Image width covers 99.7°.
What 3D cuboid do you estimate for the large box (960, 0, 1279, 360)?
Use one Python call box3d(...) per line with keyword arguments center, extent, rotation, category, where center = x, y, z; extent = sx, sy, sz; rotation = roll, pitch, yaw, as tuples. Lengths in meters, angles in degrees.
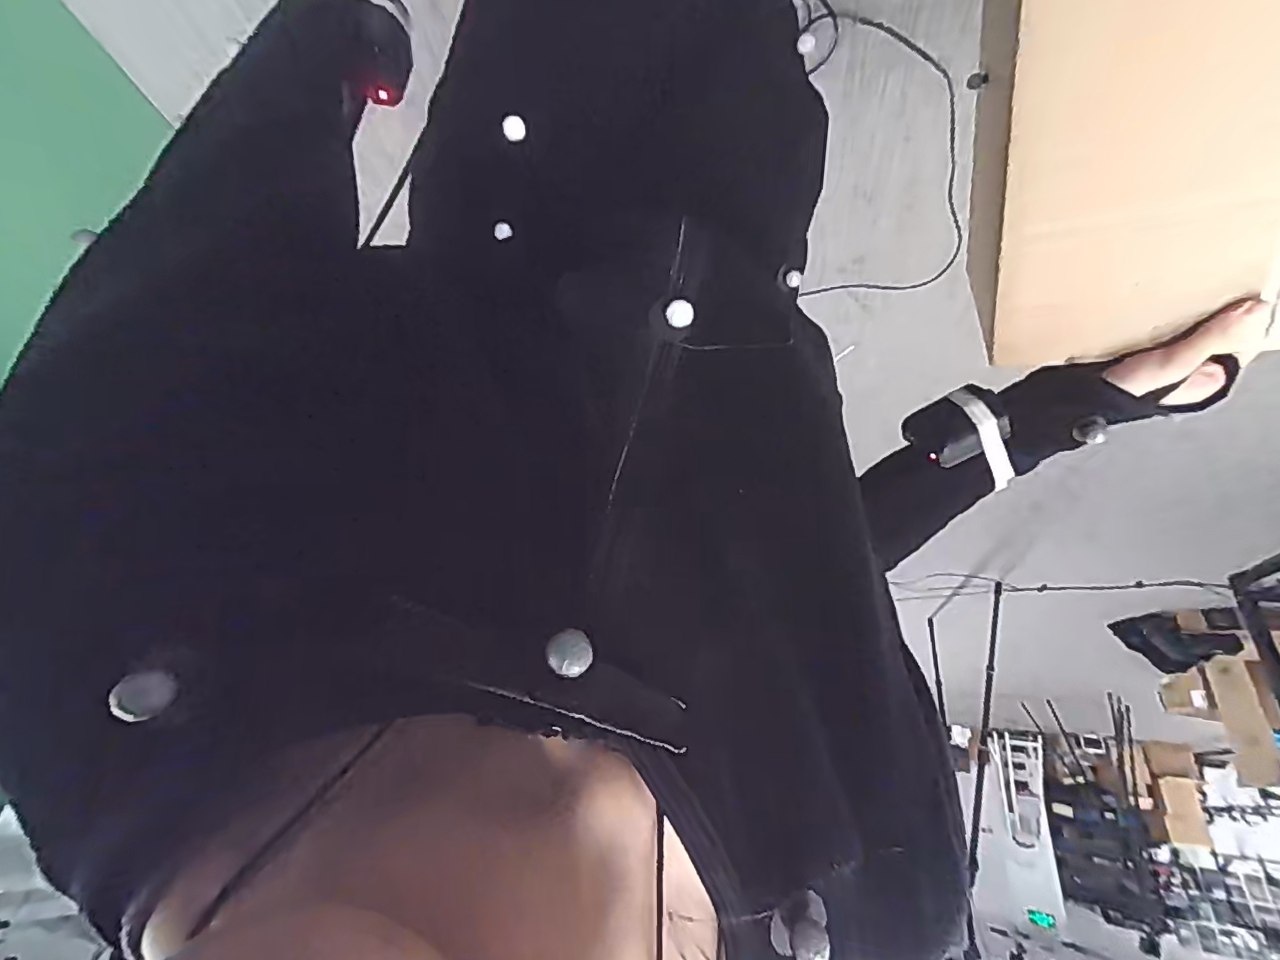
box3d(center=(0.431, -0.343, 0.409), extent=(0.320, 0.320, 0.408), rotation=(2, 123, 26), category="large box")
